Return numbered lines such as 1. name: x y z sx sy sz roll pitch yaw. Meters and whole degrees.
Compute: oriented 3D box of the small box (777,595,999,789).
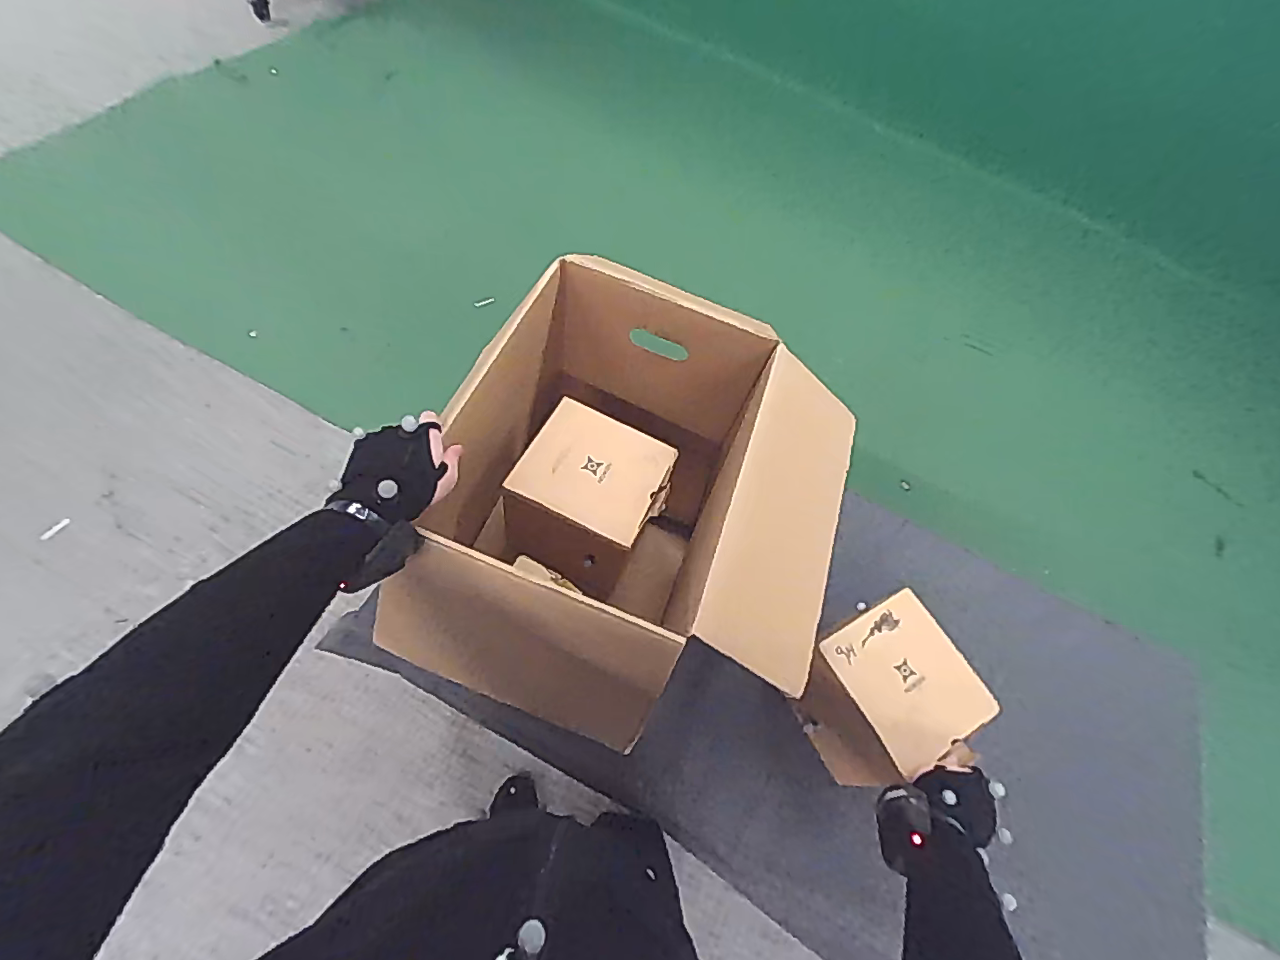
1. small box: 0.317 0.283 0.729 0.168 0.176 0.179 -22 68 -19
